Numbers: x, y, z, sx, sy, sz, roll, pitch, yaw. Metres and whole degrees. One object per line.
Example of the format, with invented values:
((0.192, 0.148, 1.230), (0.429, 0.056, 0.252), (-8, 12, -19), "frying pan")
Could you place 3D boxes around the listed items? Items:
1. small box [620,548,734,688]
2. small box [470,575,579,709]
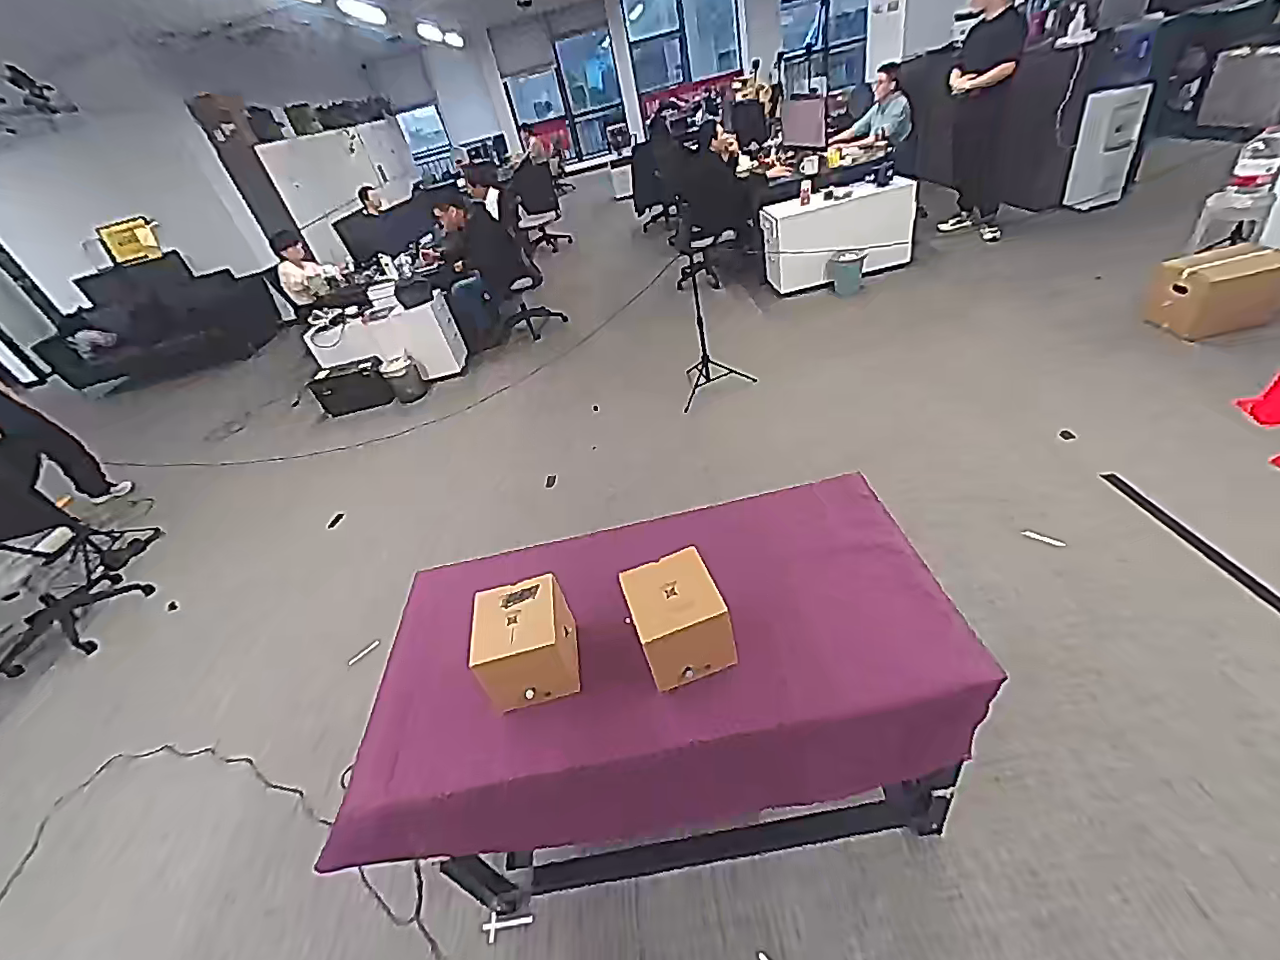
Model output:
((0.072, 0.271, 1.065), (0.168, 0.176, 0.179), (-20, 37, -5), "small box")
((-0.227, 0.328, 1.096), (0.168, 0.176, 0.179), (-16, 38, 0), "small box")
